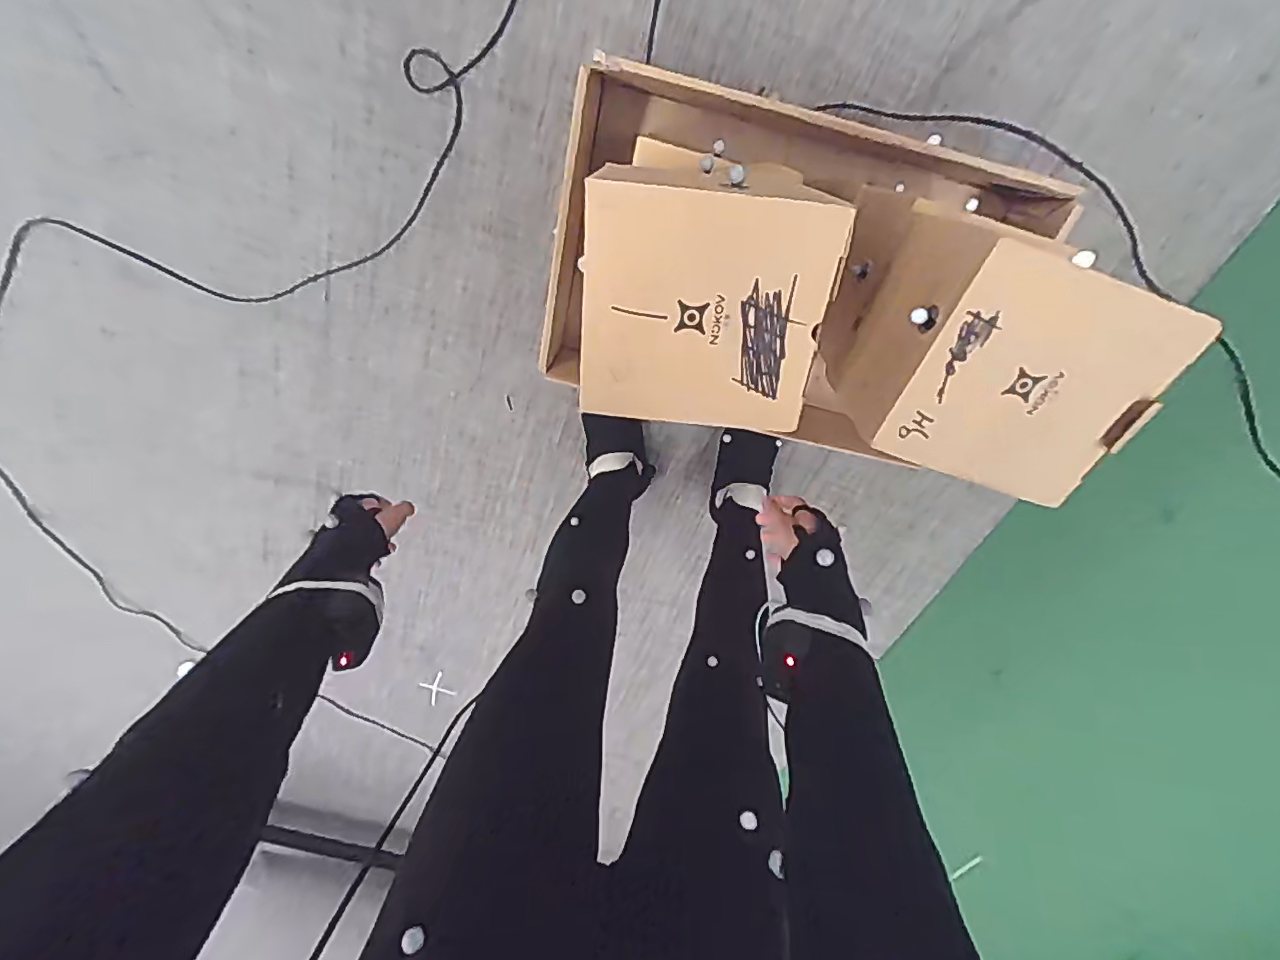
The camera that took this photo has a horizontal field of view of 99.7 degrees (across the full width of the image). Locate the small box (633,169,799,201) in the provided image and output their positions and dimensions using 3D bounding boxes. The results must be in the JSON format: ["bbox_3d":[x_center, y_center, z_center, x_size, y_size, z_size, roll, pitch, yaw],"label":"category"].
[{"bbox_3d":[0.060,-0.240,0.593,0.179,0.176,0.168,-1,123,3],"label":"small box"}]

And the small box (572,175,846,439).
[{"bbox_3d":[0.043,-0.152,0.455,0.179,0.176,0.168,6,123,0],"label":"small box"}]

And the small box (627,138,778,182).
[{"bbox_3d":[0.062,-0.339,0.722,0.179,0.176,0.168,13,123,-6],"label":"small box"}]

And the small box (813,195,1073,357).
[{"bbox_3d":[0.303,-0.198,0.599,0.168,0.176,0.179,16,122,-4],"label":"small box"}]

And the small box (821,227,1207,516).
[{"bbox_3d":[0.286,-0.101,0.465,0.179,0.176,0.168,18,121,-6],"label":"small box"}]
